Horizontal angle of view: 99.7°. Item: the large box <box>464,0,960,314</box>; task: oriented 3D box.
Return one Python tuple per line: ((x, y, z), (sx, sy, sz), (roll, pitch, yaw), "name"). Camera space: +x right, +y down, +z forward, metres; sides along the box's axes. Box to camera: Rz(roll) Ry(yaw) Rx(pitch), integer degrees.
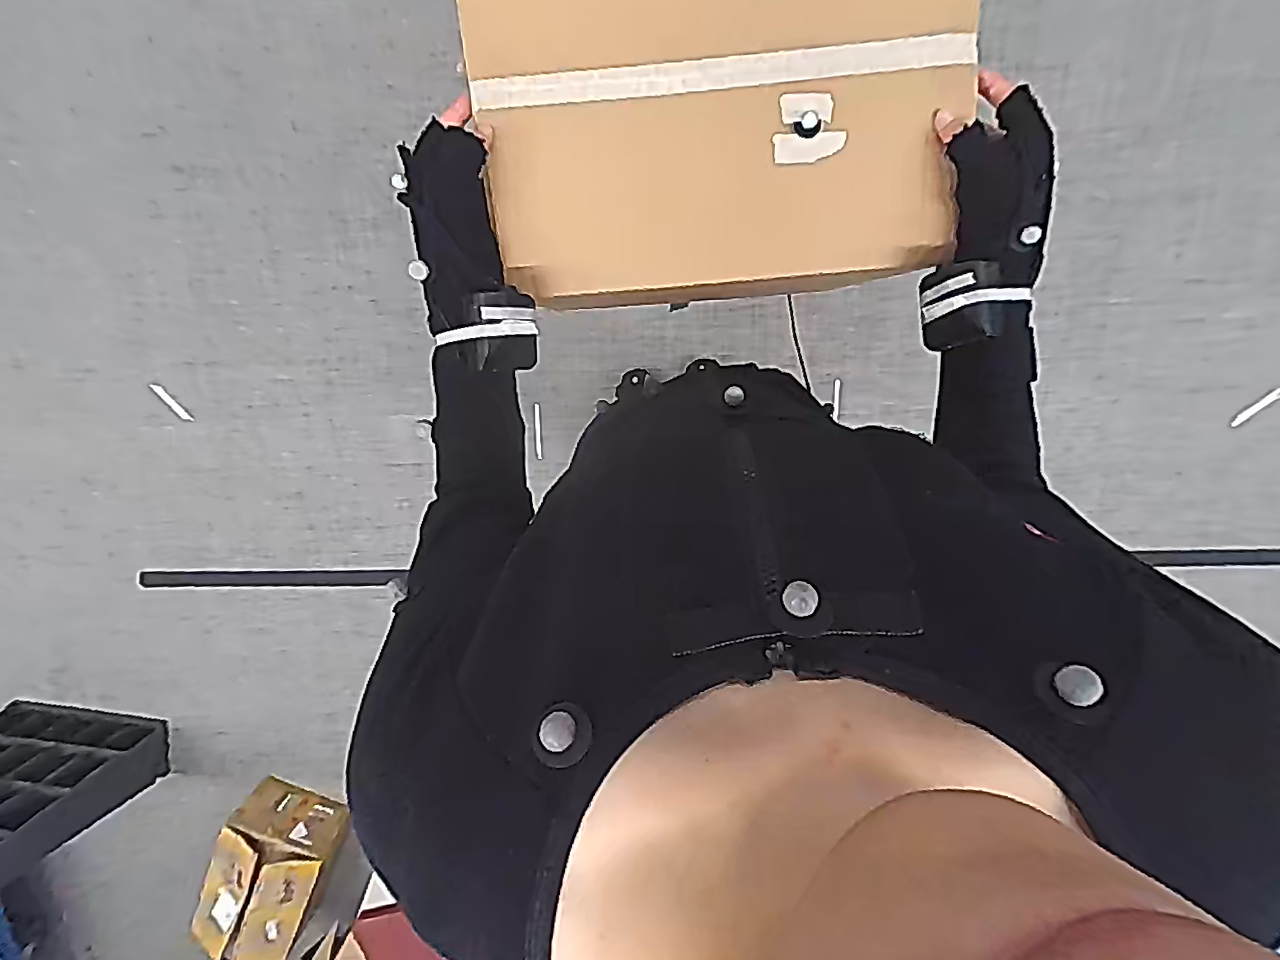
((0.061, -0.368, 0.592), (0.408, 0.320, 0.320), (-5, 105, 1), "large box")
